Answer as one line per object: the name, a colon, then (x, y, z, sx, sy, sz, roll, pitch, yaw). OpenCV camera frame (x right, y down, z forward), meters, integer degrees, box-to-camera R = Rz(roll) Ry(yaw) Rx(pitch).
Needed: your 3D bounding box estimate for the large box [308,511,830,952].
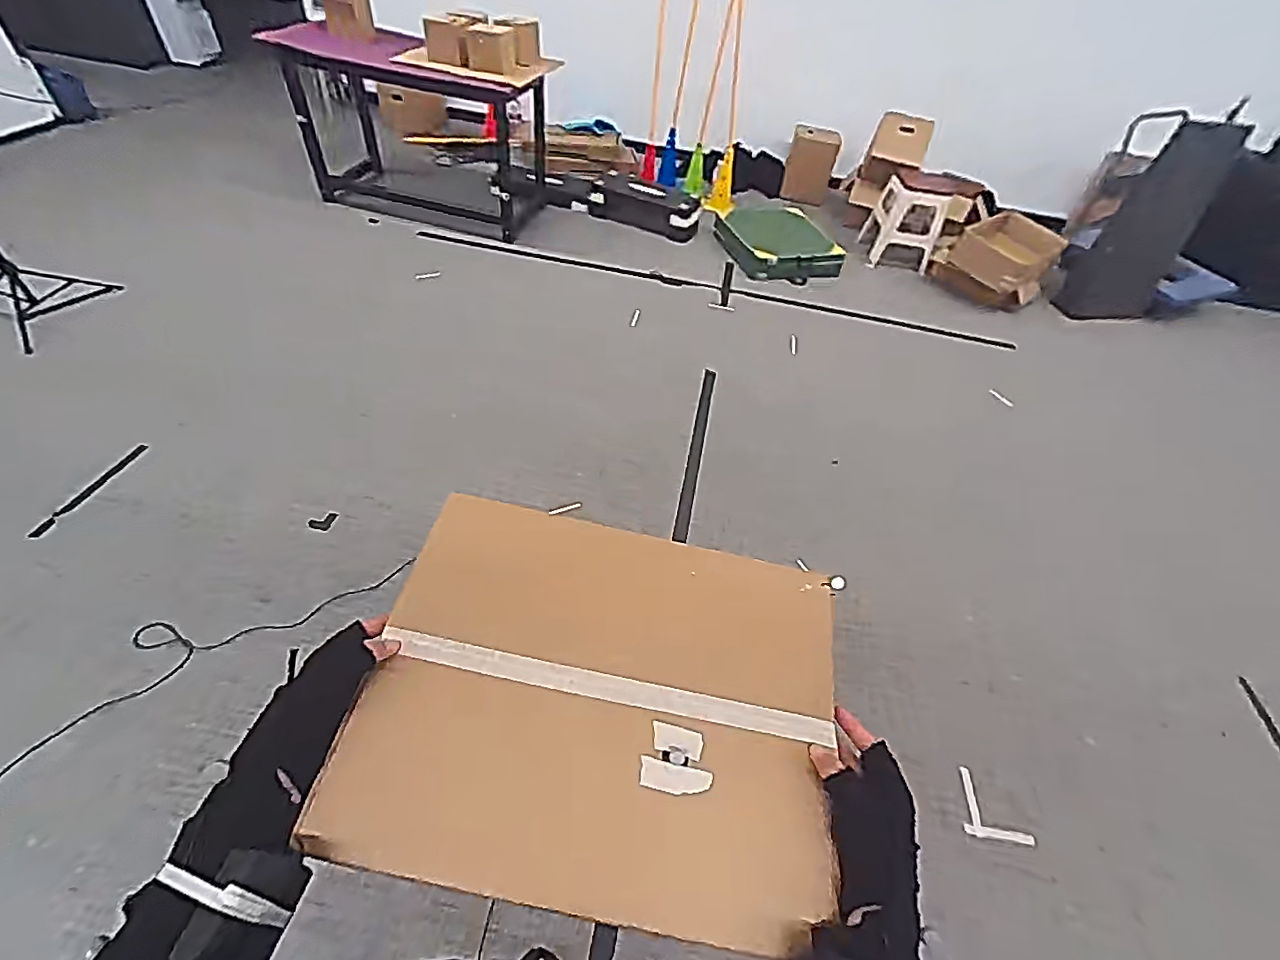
large box: (-0.050, 0.275, 0.605, 0.408, 0.320, 0.320, 12, 56, -1)
